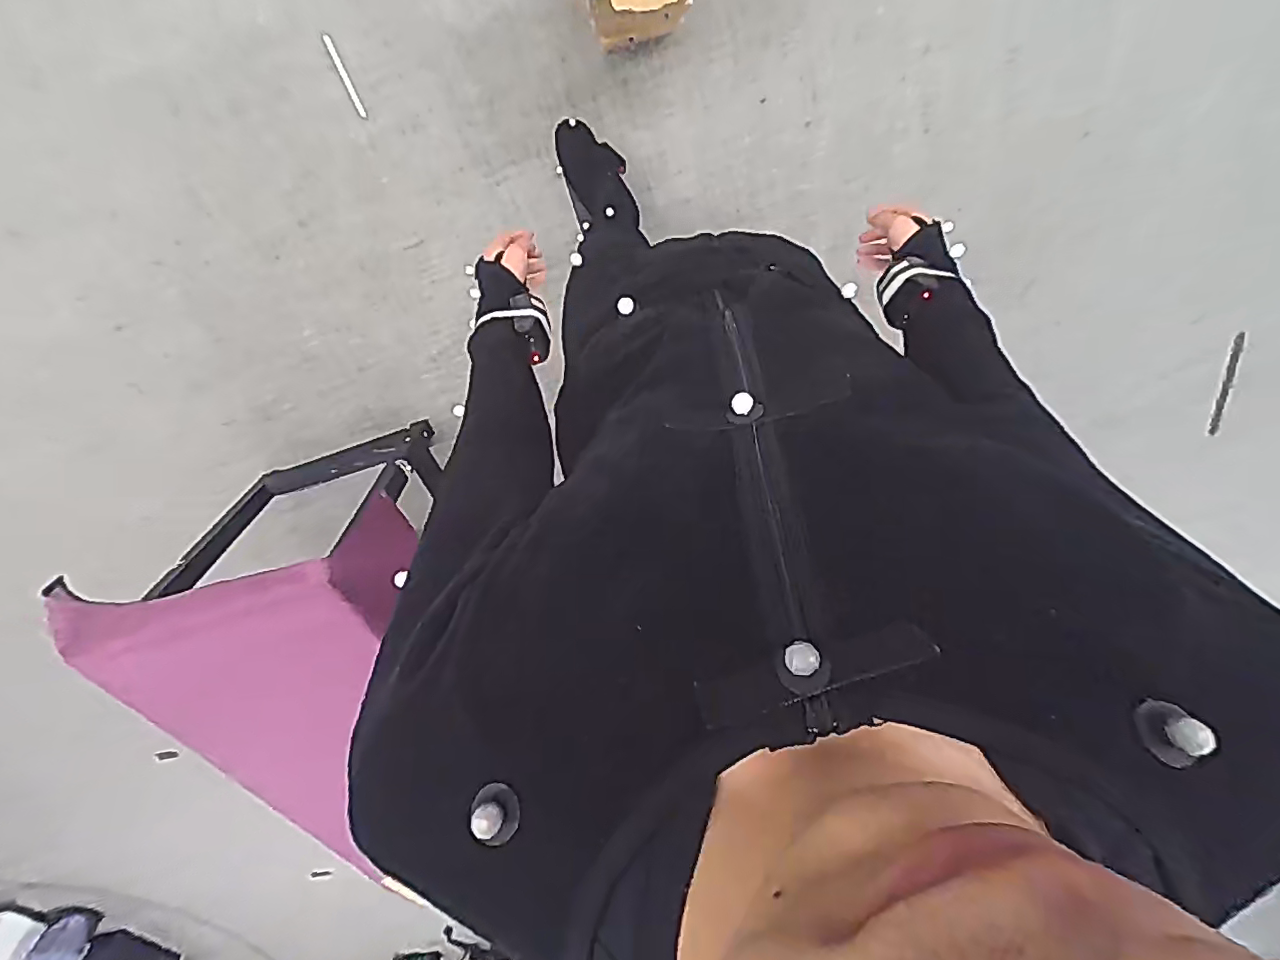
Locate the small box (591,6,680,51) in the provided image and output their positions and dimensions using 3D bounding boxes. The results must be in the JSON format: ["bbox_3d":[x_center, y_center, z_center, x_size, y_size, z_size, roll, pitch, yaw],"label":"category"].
[{"bbox_3d":[-0.022,-0.989,1.084,0.168,0.176,0.179,-13,122,3],"label":"small box"}]

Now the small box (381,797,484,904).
[{"bbox_3d":[-0.535,0.975,1.429,0.168,0.176,0.179,-26,120,11],"label":"small box"}]

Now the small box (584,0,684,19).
[{"bbox_3d":[-0.013,-0.819,0.801,0.168,0.176,0.179,-8,123,0],"label":"small box"}]
